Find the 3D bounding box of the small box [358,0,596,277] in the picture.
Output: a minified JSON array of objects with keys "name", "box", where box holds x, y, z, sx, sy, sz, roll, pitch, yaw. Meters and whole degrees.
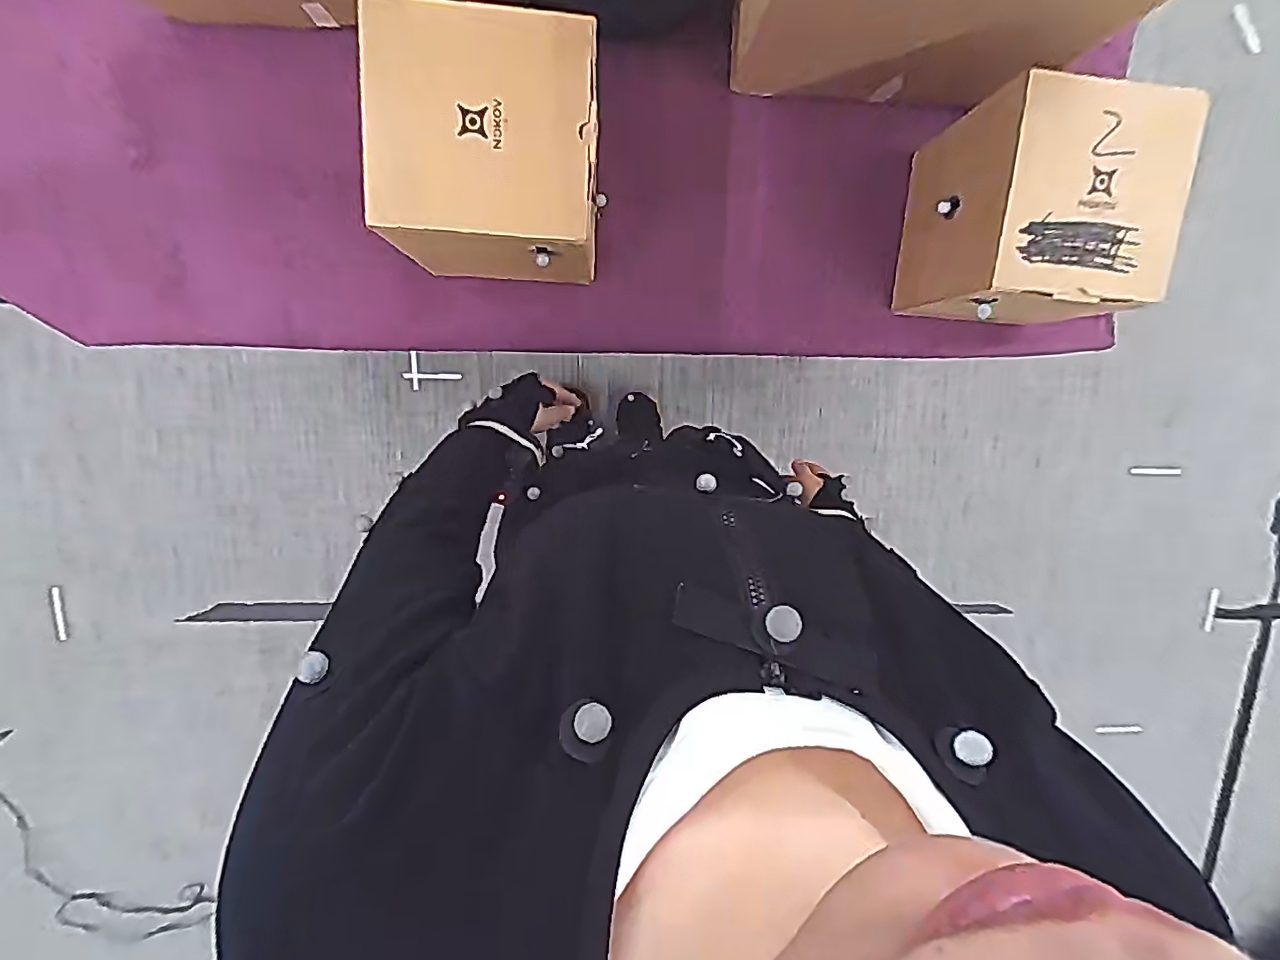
[{"name":"small box","box":[-0.131,-0.291,0.494,0.179,0.176,0.168,1,99,-5]}]
